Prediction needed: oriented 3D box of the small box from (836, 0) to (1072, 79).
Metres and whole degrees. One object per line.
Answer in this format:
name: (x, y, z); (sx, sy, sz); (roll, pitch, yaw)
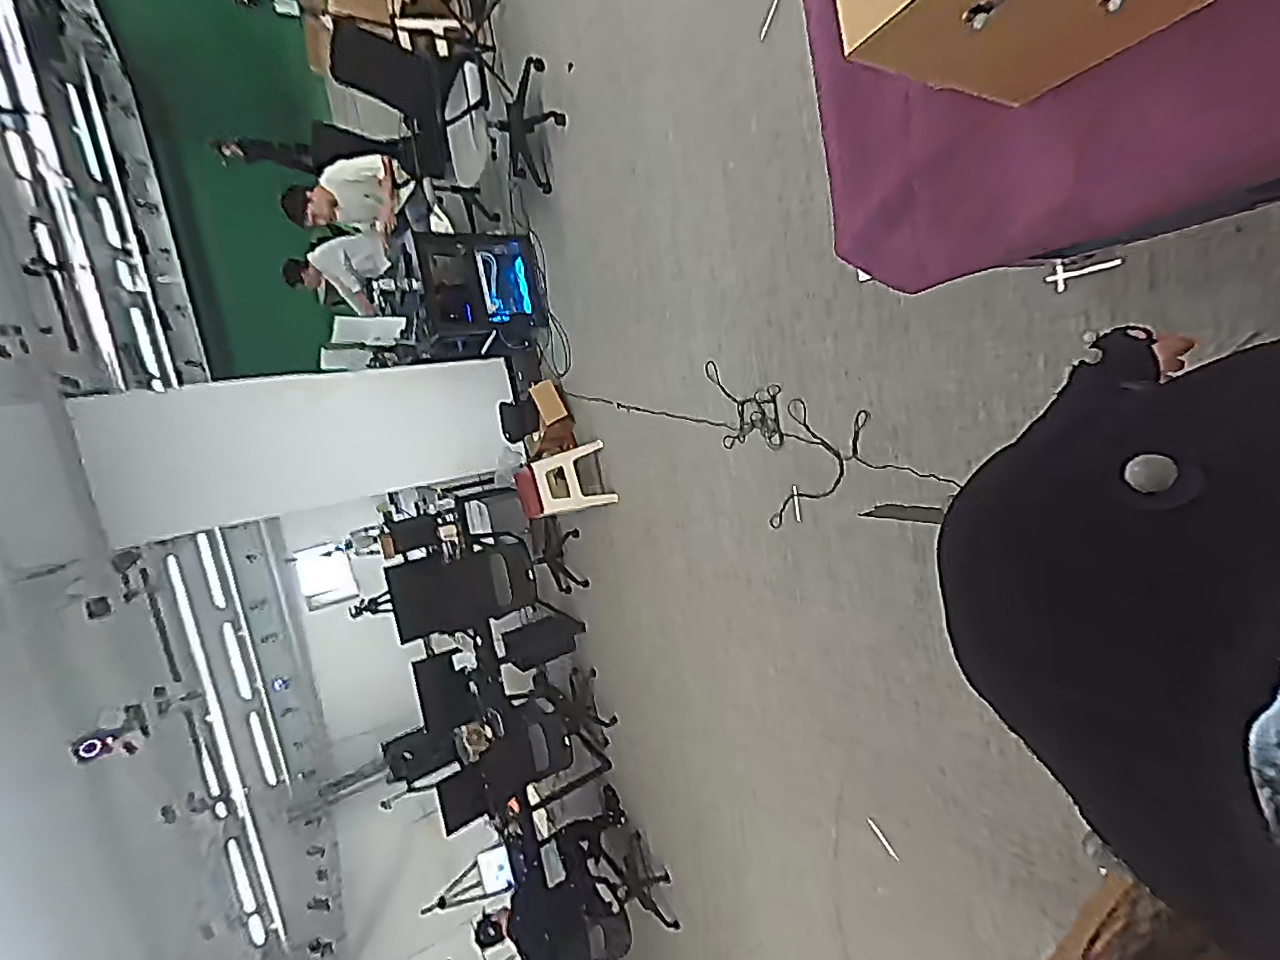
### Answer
small box: (0.278, -0.475, 0.442); (0.179, 0.176, 0.168); (-4, 99, 59)

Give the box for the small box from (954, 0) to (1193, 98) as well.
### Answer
small box: (0.412, -0.515, 0.528); (0.179, 0.176, 0.168); (-4, 99, 58)
